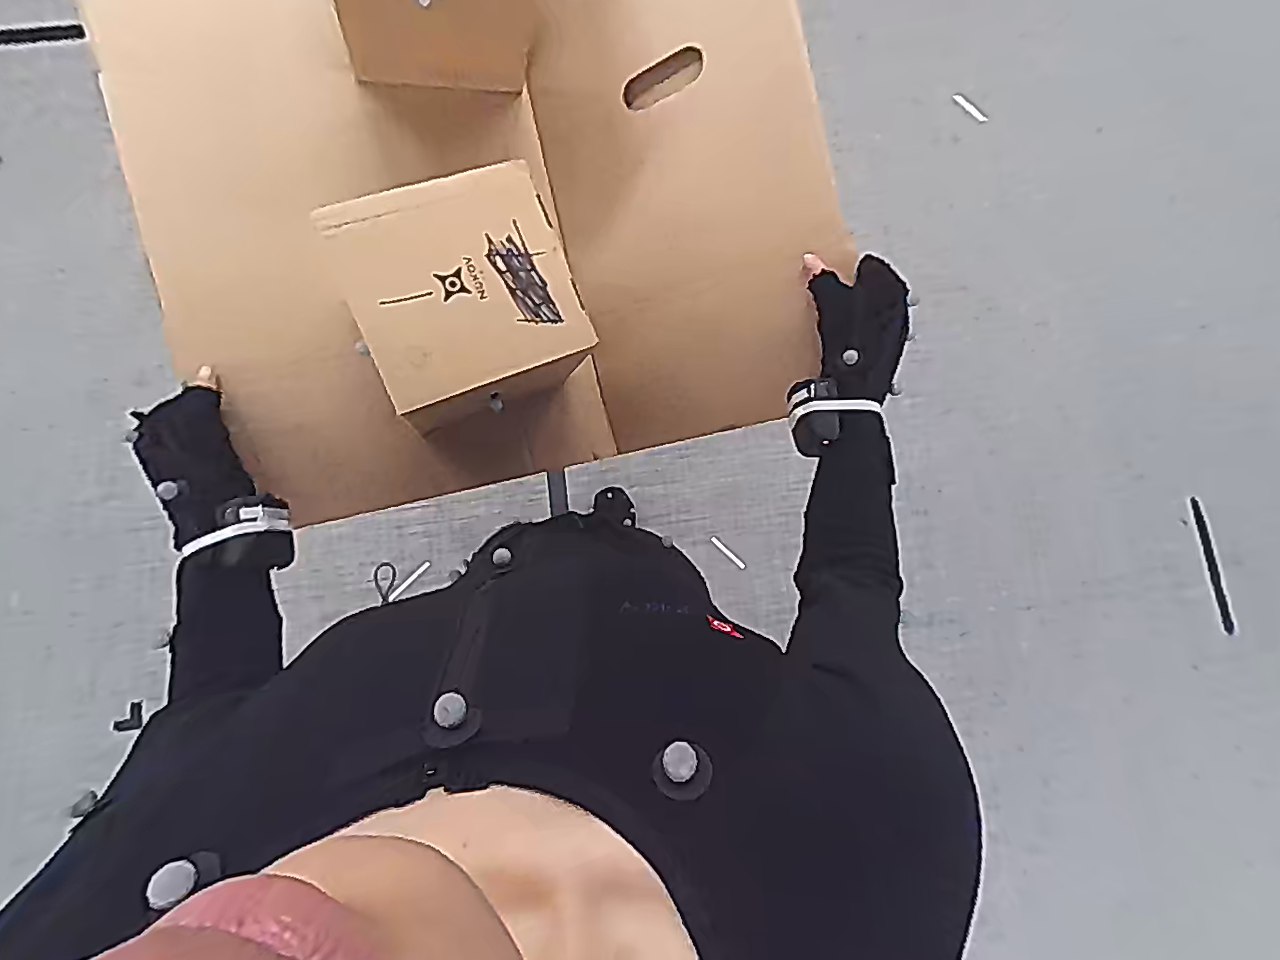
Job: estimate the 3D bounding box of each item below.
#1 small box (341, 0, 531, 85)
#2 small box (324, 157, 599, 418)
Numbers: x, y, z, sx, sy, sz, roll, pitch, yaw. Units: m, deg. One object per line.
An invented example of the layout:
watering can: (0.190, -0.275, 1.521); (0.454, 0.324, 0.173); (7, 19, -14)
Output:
small box: (-0.199, -0.516, 0.513); (0.179, 0.176, 0.168); (-8, 92, -17)
small box: (-0.164, -0.170, 0.523); (0.179, 0.176, 0.168); (-24, 97, -15)
